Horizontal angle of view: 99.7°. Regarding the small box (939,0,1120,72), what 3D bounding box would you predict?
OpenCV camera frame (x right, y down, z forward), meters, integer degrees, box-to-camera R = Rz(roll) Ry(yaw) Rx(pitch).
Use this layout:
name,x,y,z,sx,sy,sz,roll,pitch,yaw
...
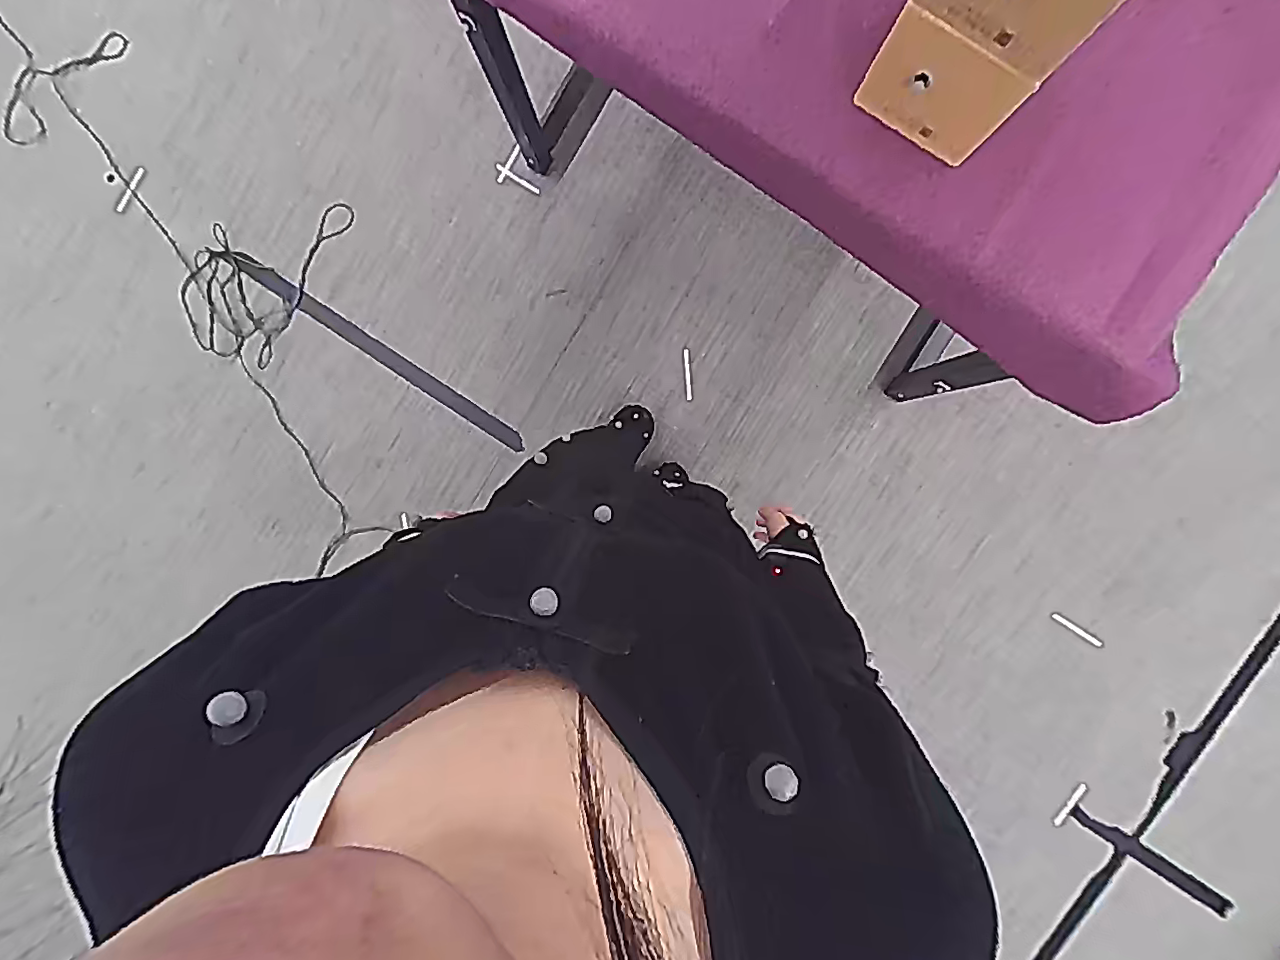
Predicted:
name,x,y,z,sx,sy,sz,roll,pitch,yaw
small box,0.395,-0.525,0.479,0.168,0.176,0.179,34,94,0

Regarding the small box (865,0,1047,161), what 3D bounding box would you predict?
name,x,y,z,sx,sy,sz,roll,pitch,yaw
small box,0.398,-0.530,0.643,0.168,0.176,0.179,33,93,0
